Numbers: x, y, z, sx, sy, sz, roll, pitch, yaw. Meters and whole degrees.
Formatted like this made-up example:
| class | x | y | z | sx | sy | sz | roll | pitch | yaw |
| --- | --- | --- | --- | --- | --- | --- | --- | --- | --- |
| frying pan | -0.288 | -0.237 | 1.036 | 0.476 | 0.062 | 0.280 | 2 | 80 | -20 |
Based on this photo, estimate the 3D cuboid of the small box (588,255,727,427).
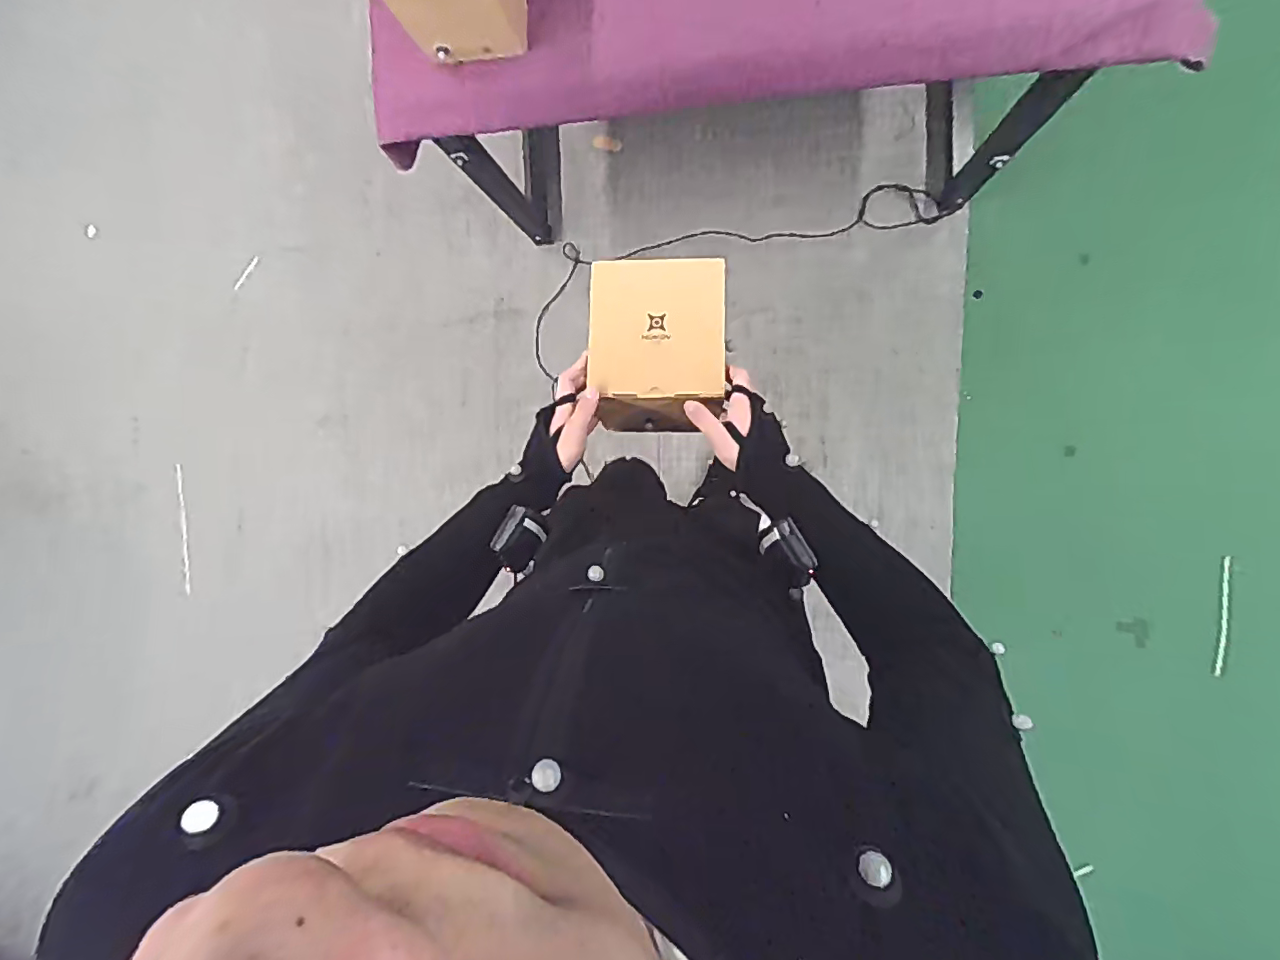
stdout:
| class | x | y | z | sx | sy | sz | roll | pitch | yaw |
| --- | --- | --- | --- | --- | --- | --- | --- | --- | --- |
| small box | 0.024 | -0.176 | 0.722 | 0.168 | 0.176 | 0.179 | 0 | 83 | 3 |

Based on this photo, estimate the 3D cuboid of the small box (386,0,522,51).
| class | x | y | z | sx | sy | sz | roll | pitch | yaw |
| --- | --- | --- | --- | --- | --- | --- | --- | --- | --- |
| small box | -0.276 | -0.762 | 0.781 | 0.168 | 0.176 | 0.179 | 2 | 94 | 8 |

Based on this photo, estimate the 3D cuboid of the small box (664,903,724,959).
| class | x | y | z | sx | sy | sz | roll | pitch | yaw |
| --- | --- | --- | --- | --- | --- | --- | --- | --- | --- |
| small box | 0.157 | 1.403 | 1.585 | 0.168 | 0.176 | 0.179 | 4 | 96 | 8 |

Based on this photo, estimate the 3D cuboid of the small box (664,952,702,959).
| class | x | y | z | sx | sy | sz | roll | pitch | yaw |
| --- | --- | --- | --- | --- | --- | --- | --- | --- | --- |
| small box | 0.131 | 1.414 | 1.424 | 0.168 | 0.176 | 0.179 | 4 | 95 | 9 |
